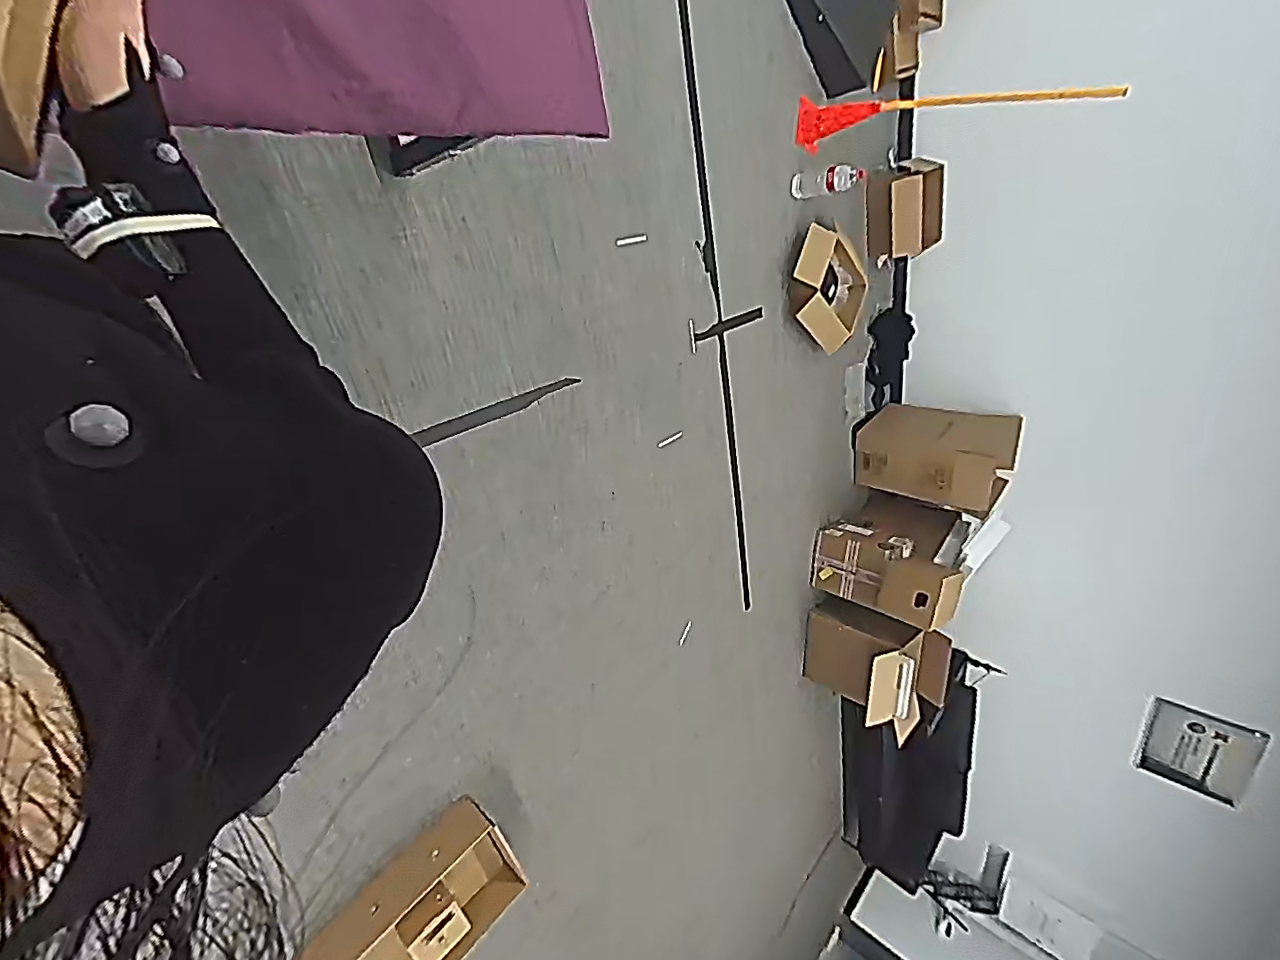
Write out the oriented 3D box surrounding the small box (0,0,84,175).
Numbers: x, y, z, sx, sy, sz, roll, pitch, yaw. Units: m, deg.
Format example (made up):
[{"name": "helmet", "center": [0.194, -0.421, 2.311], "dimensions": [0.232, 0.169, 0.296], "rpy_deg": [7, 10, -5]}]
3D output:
[{"name": "small box", "center": [-0.390, -0.288, 0.254], "dimensions": [0.168, 0.176, 0.179], "rpy_deg": [11, 88, -44]}]
